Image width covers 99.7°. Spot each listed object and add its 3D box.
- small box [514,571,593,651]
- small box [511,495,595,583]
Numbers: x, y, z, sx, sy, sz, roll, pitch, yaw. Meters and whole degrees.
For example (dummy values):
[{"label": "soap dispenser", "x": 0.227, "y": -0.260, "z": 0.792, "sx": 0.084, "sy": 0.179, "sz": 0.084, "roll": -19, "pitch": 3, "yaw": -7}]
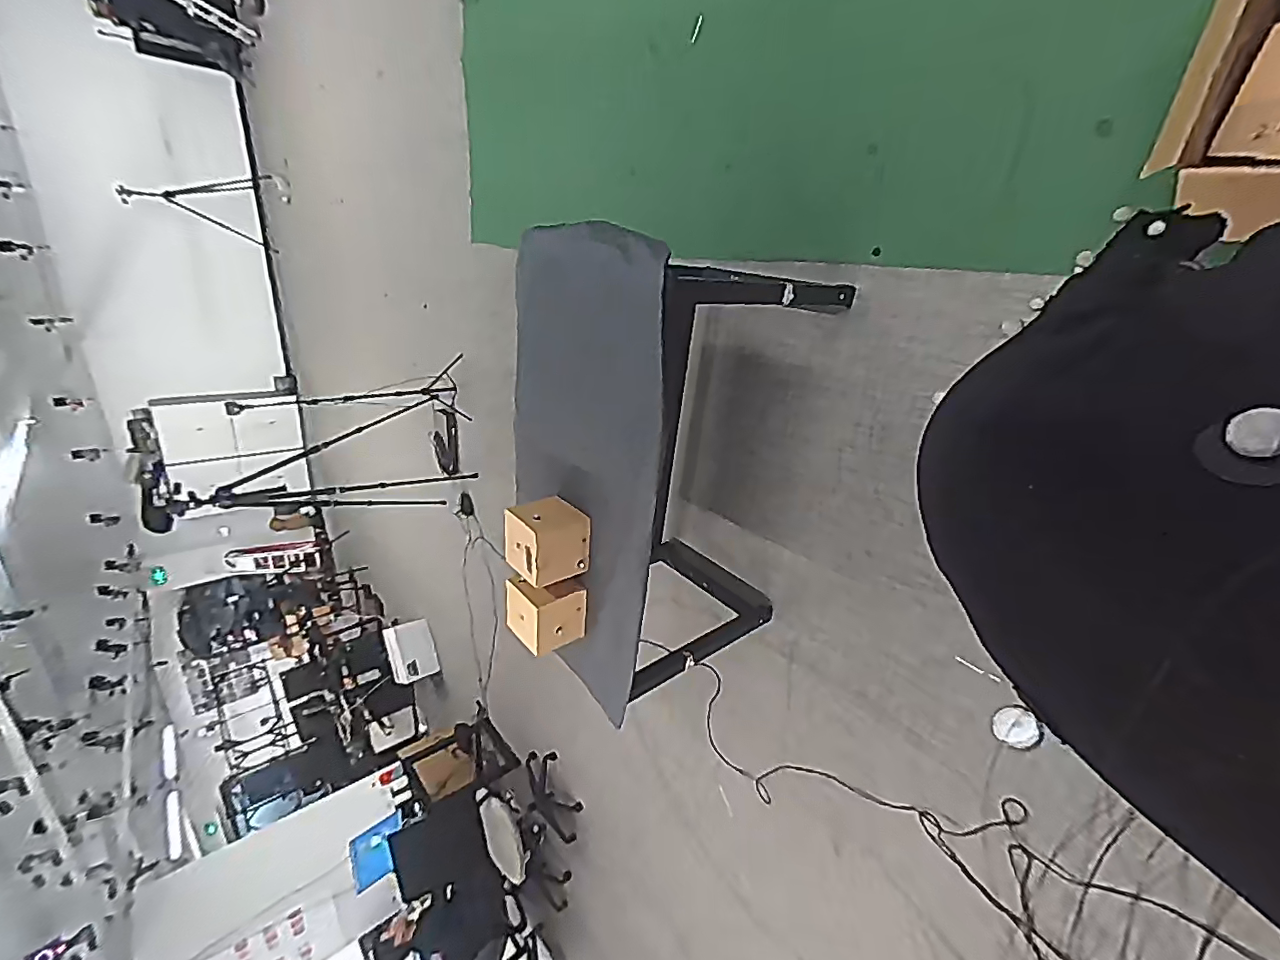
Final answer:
[{"label": "small box", "x": -0.251, "y": 0.359, "z": 1.576, "sx": 0.179, "sy": 0.176, "sz": 0.168, "roll": 28, "pitch": 122, "yaw": 45}, {"label": "small box", "x": -0.237, "y": 0.153, "z": 1.490, "sx": 0.179, "sy": 0.176, "sz": 0.168, "roll": 28, "pitch": 122, "yaw": 44}]
